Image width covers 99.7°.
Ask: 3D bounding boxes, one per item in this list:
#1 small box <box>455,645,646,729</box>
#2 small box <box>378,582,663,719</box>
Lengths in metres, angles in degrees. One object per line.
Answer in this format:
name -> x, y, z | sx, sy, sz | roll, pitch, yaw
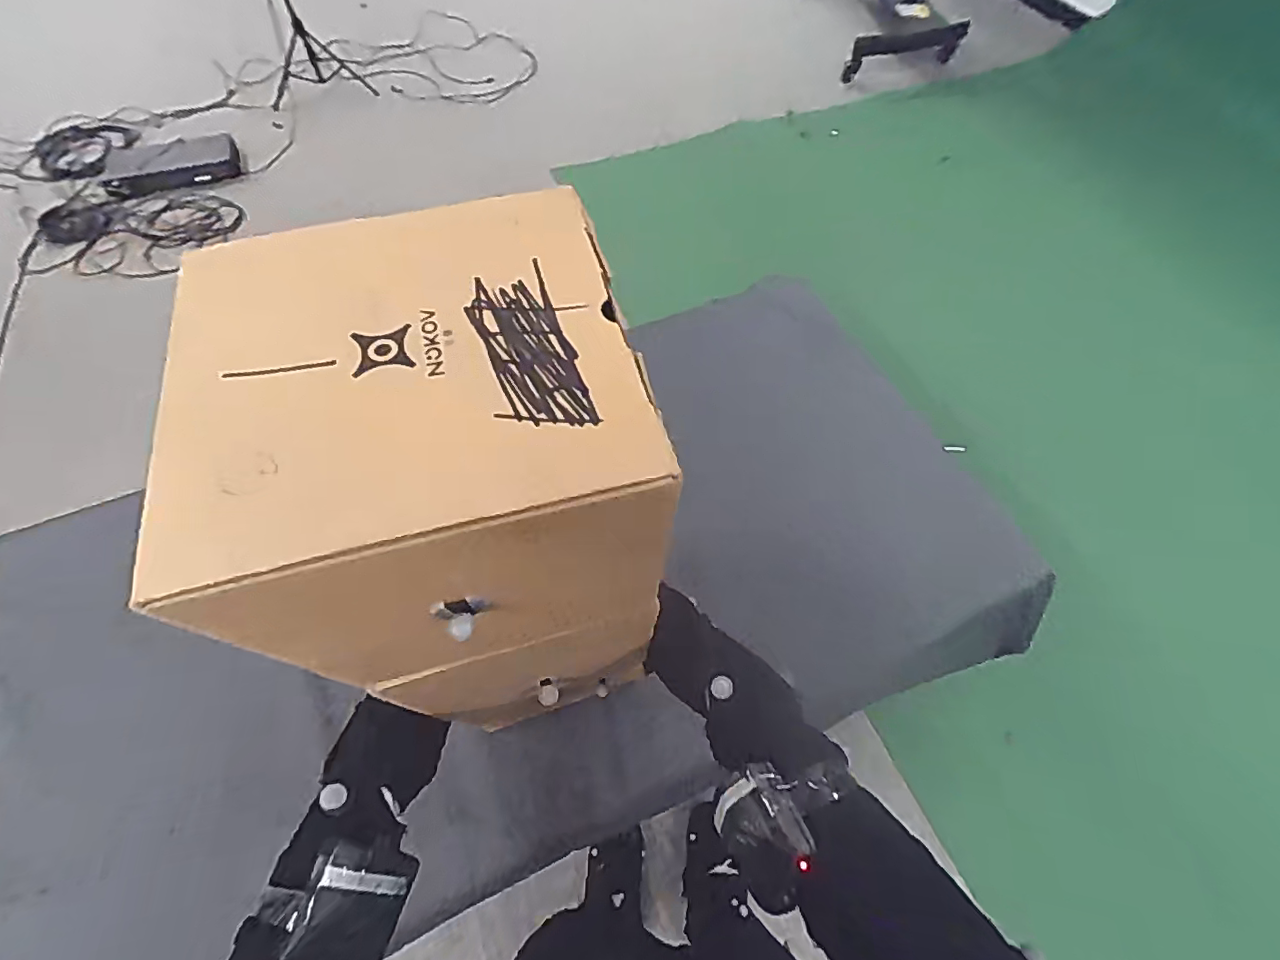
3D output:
small box -> -0.103, 0.150, 0.576 | 0.179, 0.176, 0.168 | -17, 63, -10
small box -> -0.095, 0.074, 0.430 | 0.179, 0.176, 0.168 | -14, 61, -11
